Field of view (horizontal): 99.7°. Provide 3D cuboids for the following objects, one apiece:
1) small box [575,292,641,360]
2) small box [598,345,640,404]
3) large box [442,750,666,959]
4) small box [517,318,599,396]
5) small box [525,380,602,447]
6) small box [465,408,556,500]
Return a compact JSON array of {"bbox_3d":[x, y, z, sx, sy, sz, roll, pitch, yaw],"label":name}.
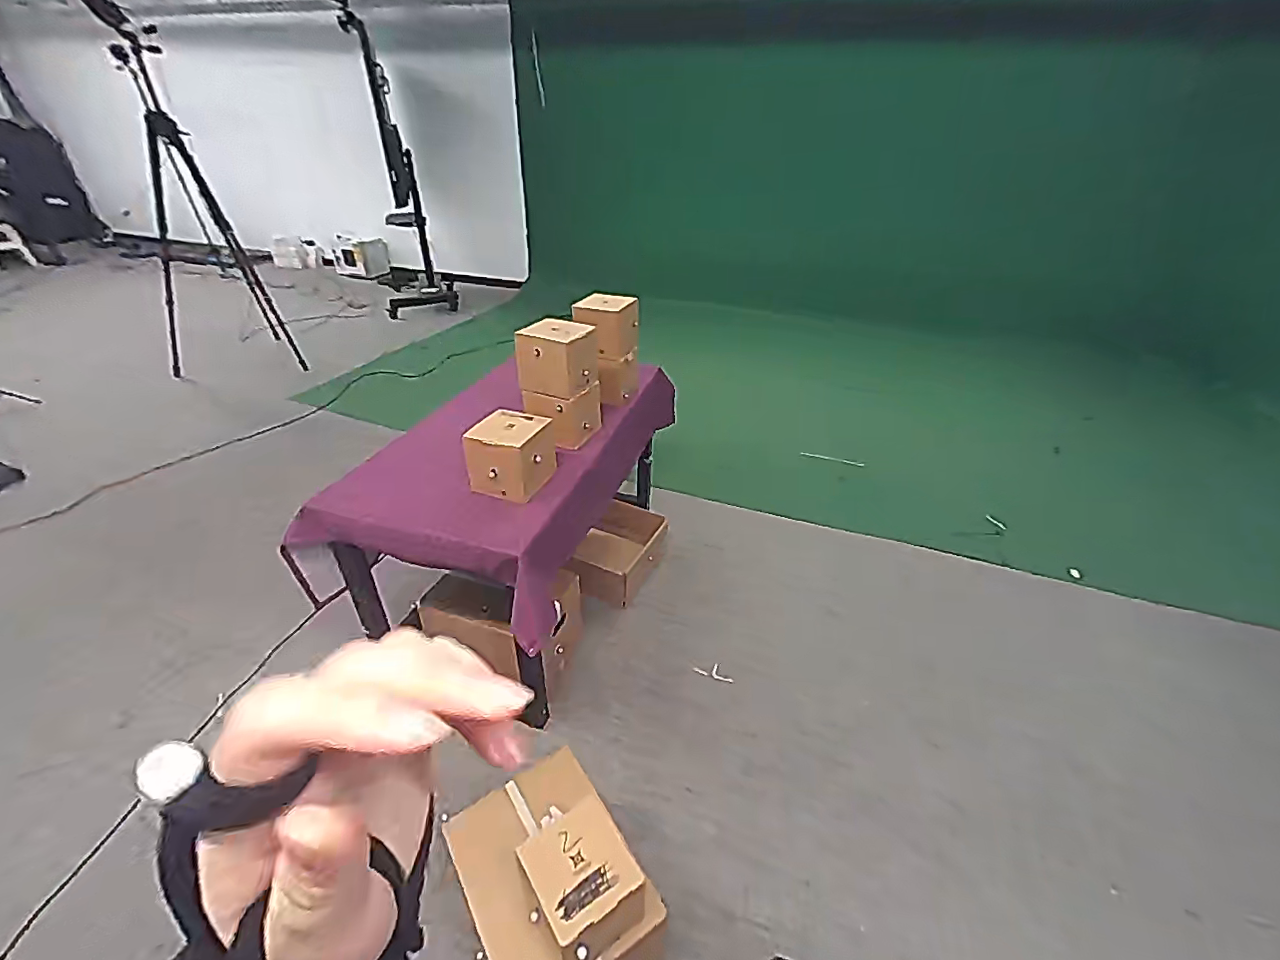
[{"bbox_3d":[-0.107,-0.522,1.828,0.168,0.176,0.179,13,36,18],"label":"small box"},{"bbox_3d":[-0.109,-0.384,1.915,0.179,0.176,0.168,12,35,17],"label":"small box"},{"bbox_3d":[-0.185,0.904,1.169,0.320,0.320,0.408,-19,38,-29],"label":"large box"},{"bbox_3d":[-0.234,-0.359,1.579,0.179,0.176,0.168,17,37,21],"label":"small box"},{"bbox_3d":[-0.232,-0.220,1.667,0.179,0.176,0.168,16,37,20],"label":"small box"},{"bbox_3d":[-0.332,-0.068,1.431,0.168,0.176,0.179,14,36,16],"label":"small box"}]
